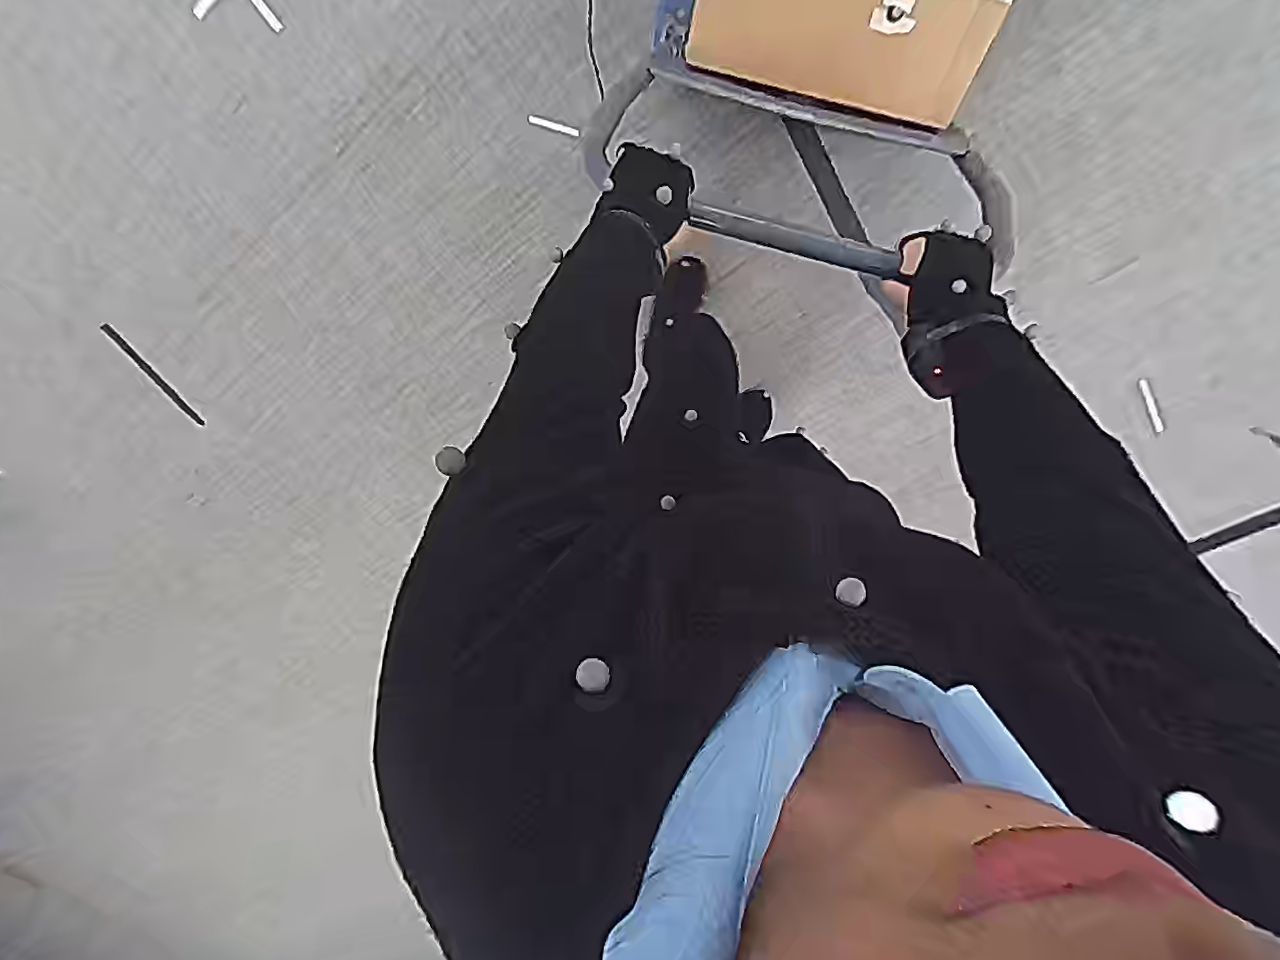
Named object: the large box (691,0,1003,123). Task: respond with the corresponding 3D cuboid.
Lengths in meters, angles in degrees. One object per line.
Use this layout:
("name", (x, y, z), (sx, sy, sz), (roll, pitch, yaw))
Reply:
("large box", (0.316, -0.787, 0.821), (0.408, 0.320, 0.320), (15, 134, 1))
